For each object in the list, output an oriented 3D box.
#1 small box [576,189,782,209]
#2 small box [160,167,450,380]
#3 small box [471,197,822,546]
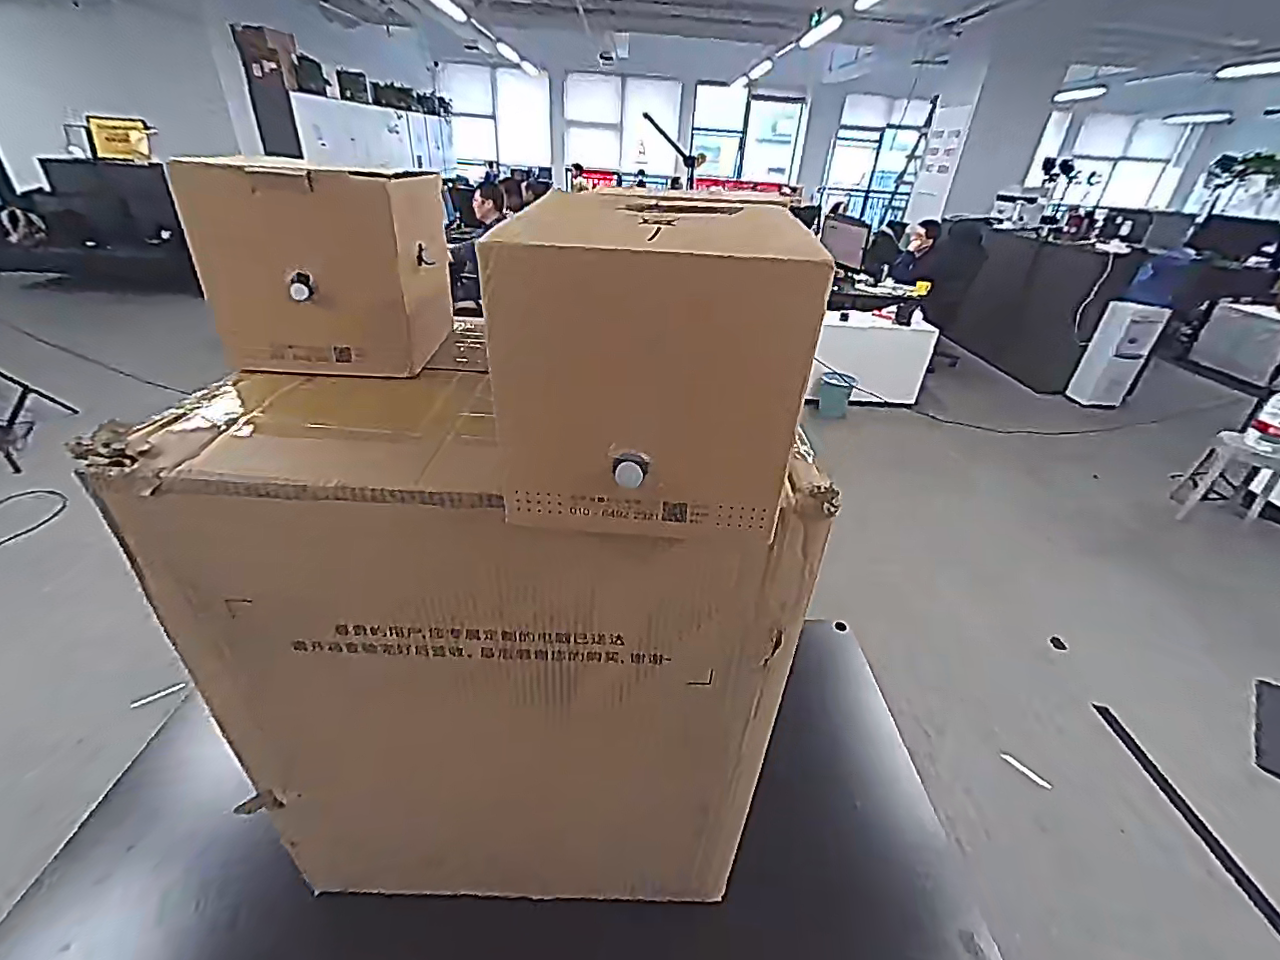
[{"bbox_3d":[0.031,-0.187,0.533,0.168,0.176,0.179,2,30,2],"label":"small box"},{"bbox_3d":[-0.294,-0.204,0.528,0.168,0.176,0.179,1,31,-5],"label":"small box"},{"bbox_3d":[0.007,-0.080,0.358,0.168,0.176,0.179,3,35,4],"label":"small box"}]
